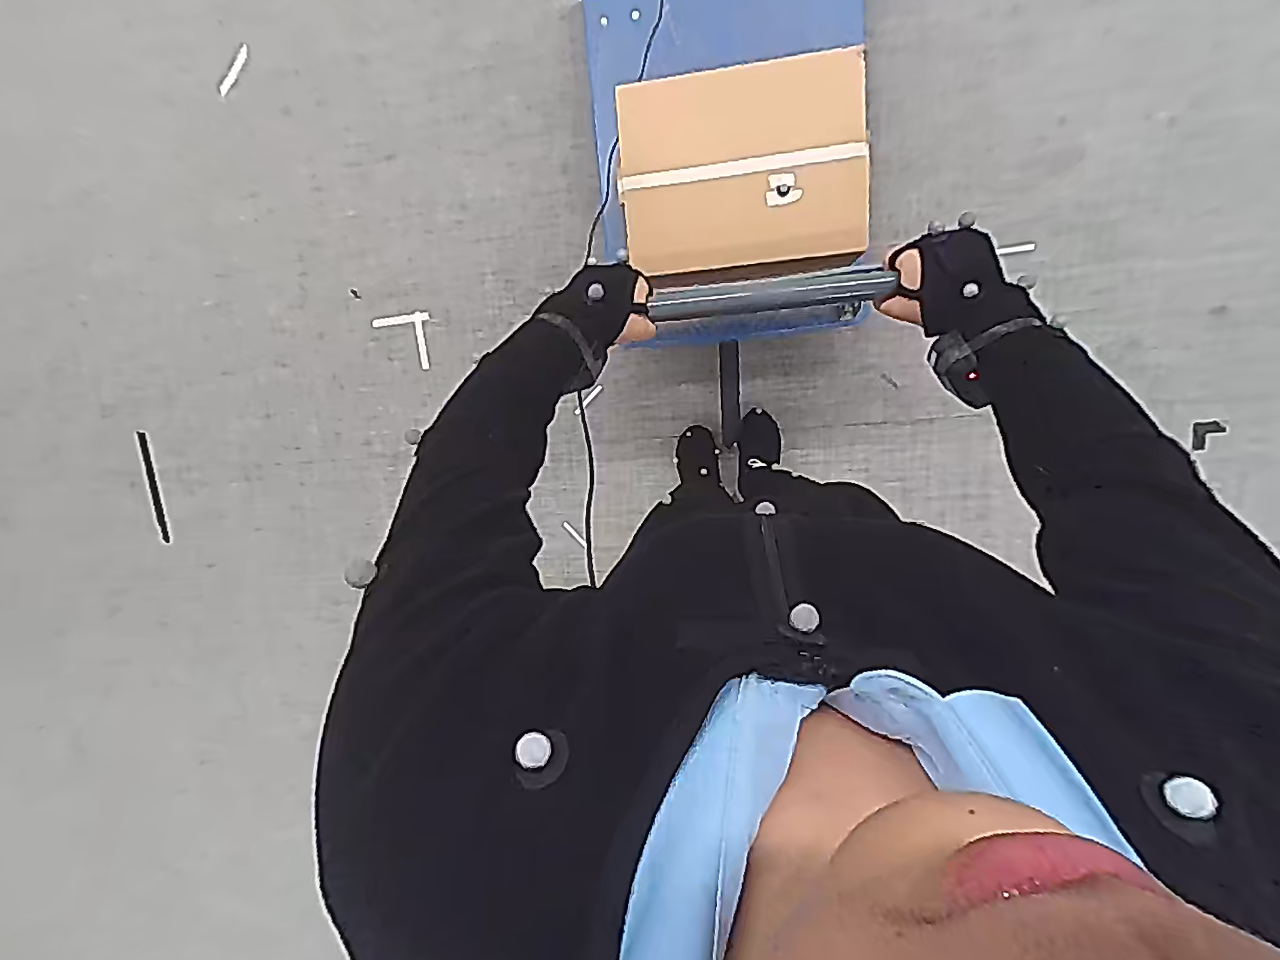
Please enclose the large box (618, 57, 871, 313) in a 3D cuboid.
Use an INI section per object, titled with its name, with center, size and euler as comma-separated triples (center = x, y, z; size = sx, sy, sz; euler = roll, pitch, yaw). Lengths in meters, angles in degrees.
[large box]
center = 0.188, -0.522, 1.042
size = 0.408, 0.320, 0.320
euler = -4, 99, 8
